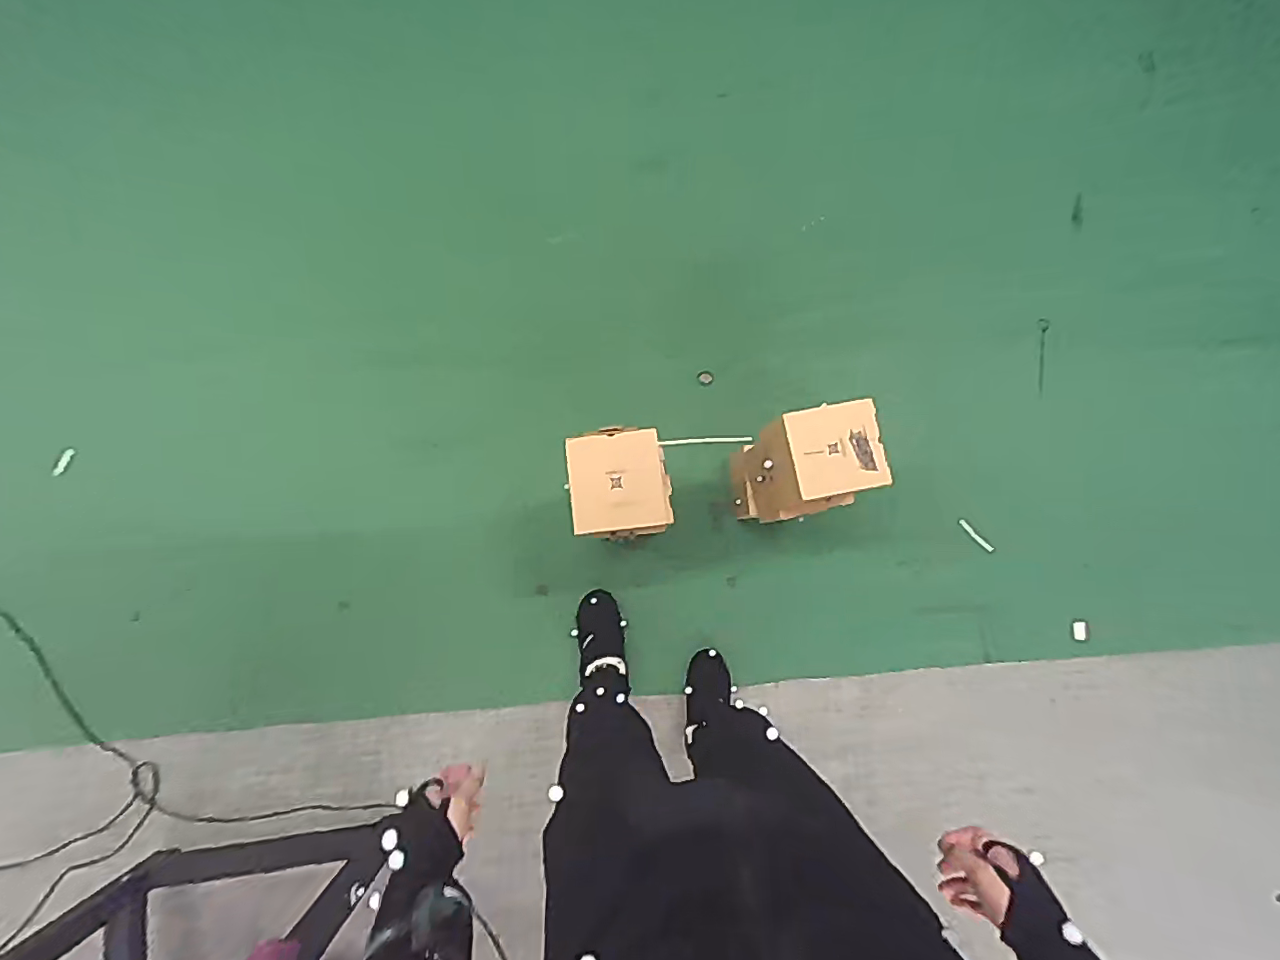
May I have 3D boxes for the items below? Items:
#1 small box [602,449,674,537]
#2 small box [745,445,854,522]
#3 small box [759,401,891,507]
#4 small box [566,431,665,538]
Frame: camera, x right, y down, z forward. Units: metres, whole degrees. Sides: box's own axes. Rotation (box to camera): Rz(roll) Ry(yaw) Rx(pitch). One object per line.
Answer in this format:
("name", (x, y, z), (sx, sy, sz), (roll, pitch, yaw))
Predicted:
("small box", (-0.029, 0.034, 1.198), (0.179, 0.176, 0.168), (-8, 83, -4))
("small box", (0.349, -0.008, 1.220), (0.168, 0.176, 0.179), (-13, 85, -4))
("small box", (0.352, -0.045, 1.058), (0.179, 0.176, 0.168), (-11, 84, -3))
("small box", (-0.046, 0.014, 1.035), (0.168, 0.176, 0.179), (-6, 83, -1))
